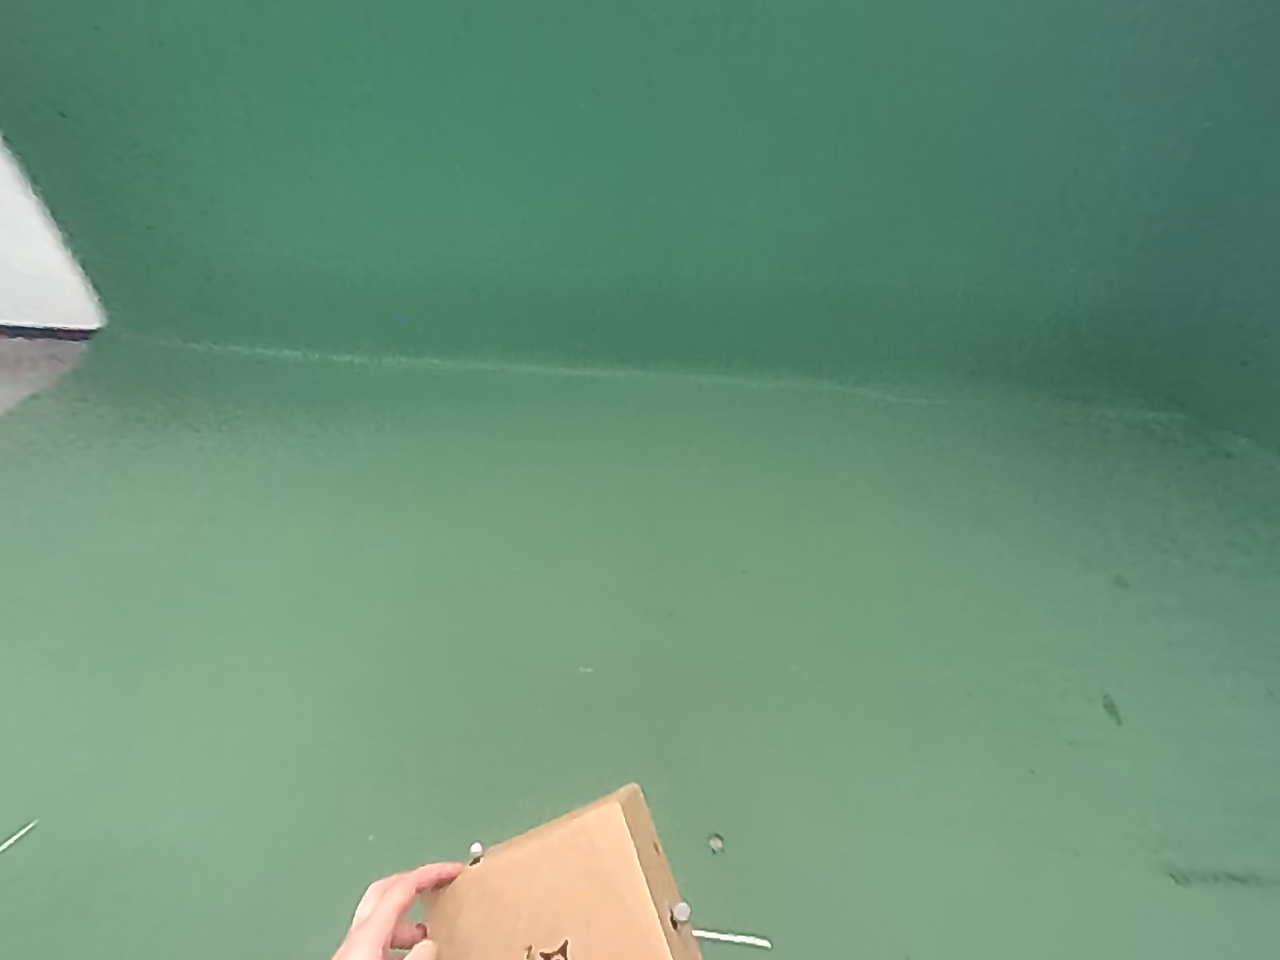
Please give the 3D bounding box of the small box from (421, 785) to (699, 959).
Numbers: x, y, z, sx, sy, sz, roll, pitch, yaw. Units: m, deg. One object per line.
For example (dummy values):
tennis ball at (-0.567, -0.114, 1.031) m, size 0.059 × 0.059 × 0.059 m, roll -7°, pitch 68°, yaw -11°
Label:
small box at (-0.054, 0.388, 0.467) m, size 0.179 × 0.176 × 0.168 m, roll -24°, pitch 66°, yaw -5°
